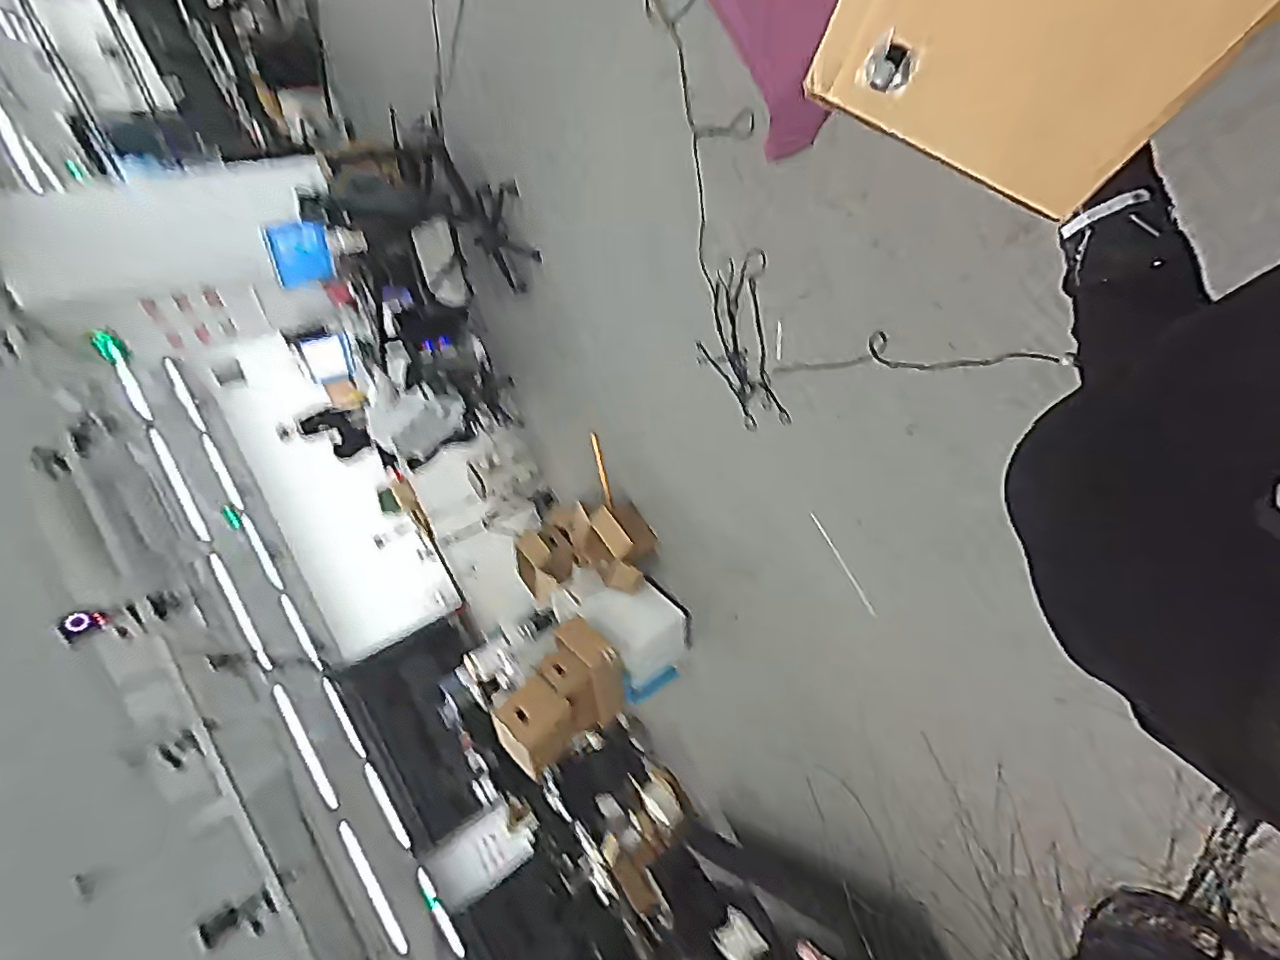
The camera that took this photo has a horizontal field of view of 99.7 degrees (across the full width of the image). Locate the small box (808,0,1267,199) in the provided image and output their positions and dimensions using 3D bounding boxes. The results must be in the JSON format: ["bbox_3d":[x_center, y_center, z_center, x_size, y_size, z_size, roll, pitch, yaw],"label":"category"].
[{"bbox_3d":[0.221,-0.295,0.270,0.179,0.168,0.176,30,157,2],"label":"small box"}]
